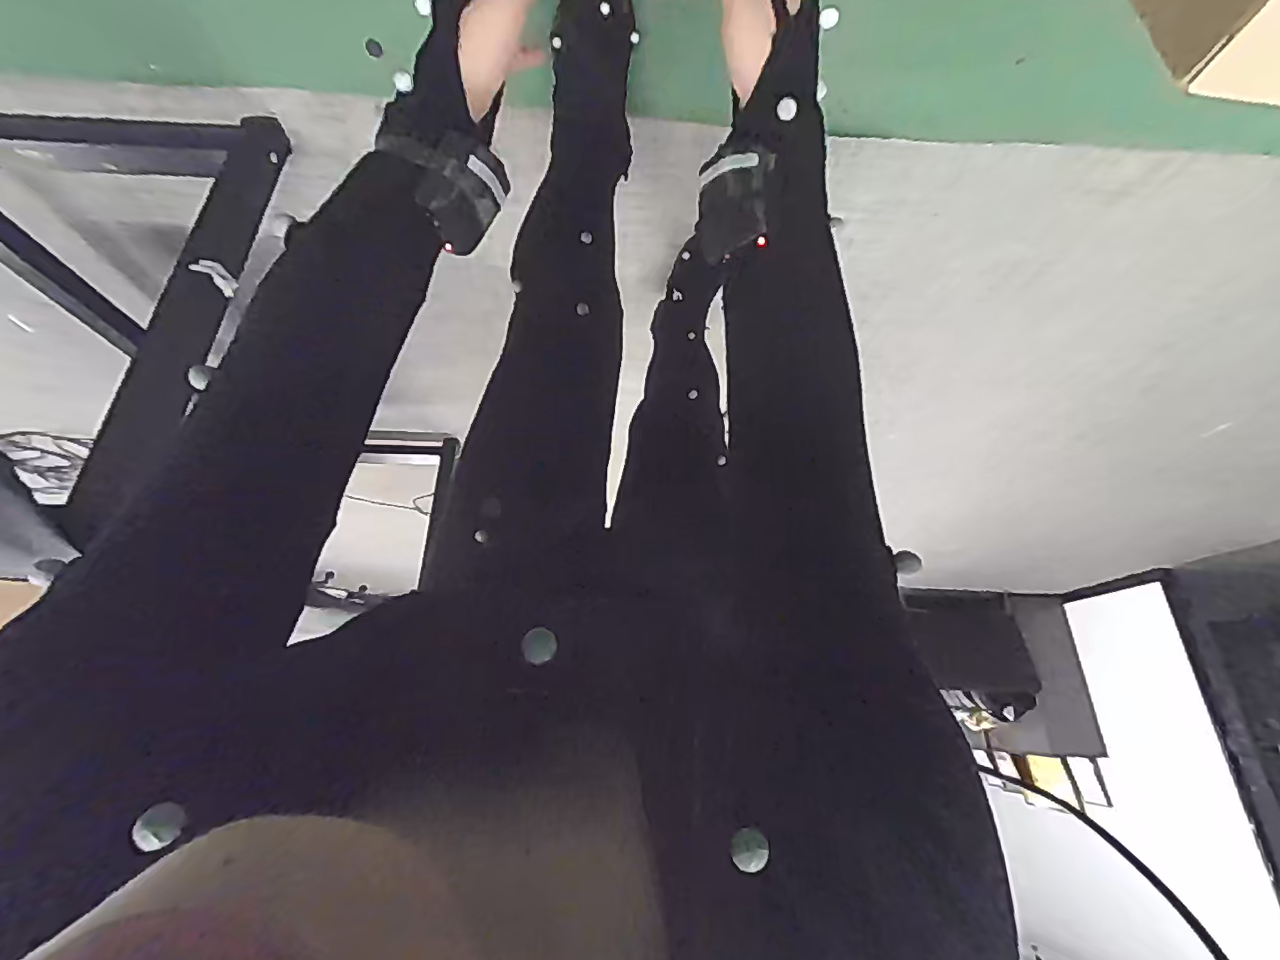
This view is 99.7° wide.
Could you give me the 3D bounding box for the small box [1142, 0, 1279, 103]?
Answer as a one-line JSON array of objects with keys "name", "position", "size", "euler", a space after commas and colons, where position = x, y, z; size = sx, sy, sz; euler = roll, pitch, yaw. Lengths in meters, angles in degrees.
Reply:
[{"name": "small box", "position": [0.447, -0.353, 0.316], "size": [0.179, 0.176, 0.168], "euler": [4, 156, -5]}]
